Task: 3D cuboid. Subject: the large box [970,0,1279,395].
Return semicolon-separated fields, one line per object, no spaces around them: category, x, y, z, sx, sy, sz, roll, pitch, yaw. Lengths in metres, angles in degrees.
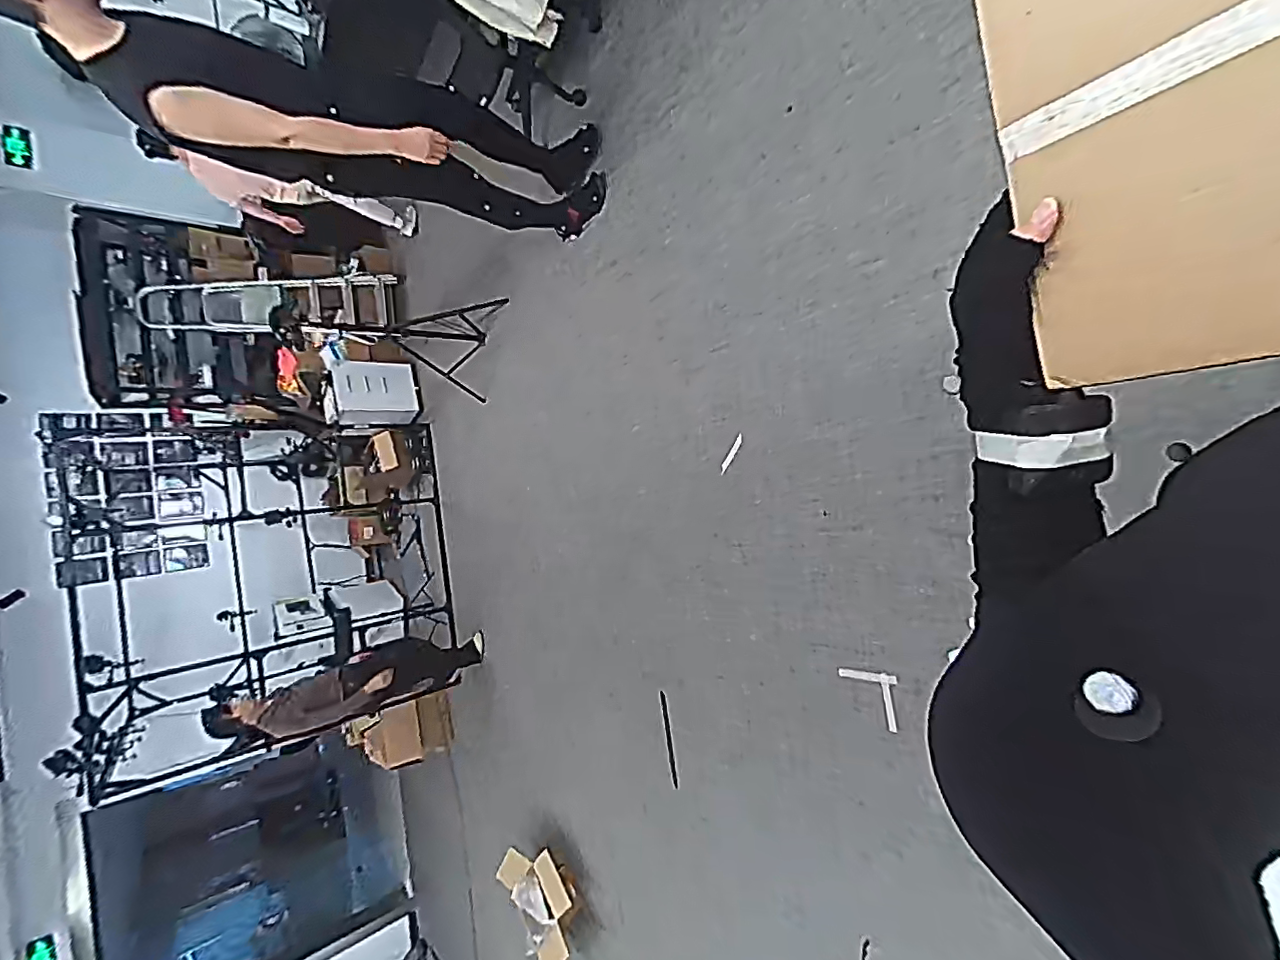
large box;0.465;-0.259;0.270;0.408;0.320;0.320;-7;99;55
